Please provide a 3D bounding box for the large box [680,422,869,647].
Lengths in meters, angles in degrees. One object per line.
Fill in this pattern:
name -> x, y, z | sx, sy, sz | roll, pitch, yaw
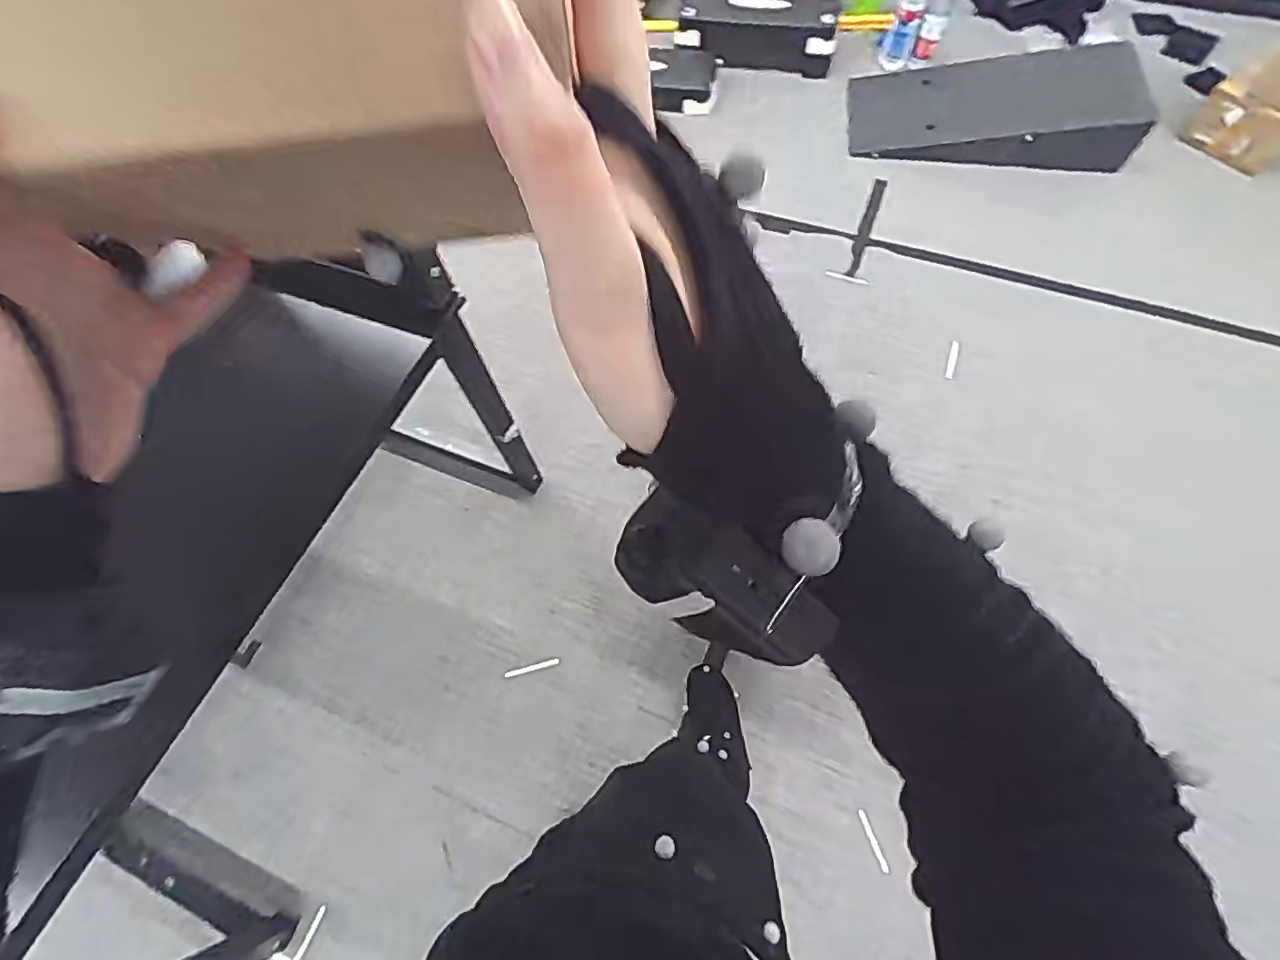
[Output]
large box -> 0.309, 0.141, 1.315 | 0.320, 0.320, 0.408 | 22, 67, 11
